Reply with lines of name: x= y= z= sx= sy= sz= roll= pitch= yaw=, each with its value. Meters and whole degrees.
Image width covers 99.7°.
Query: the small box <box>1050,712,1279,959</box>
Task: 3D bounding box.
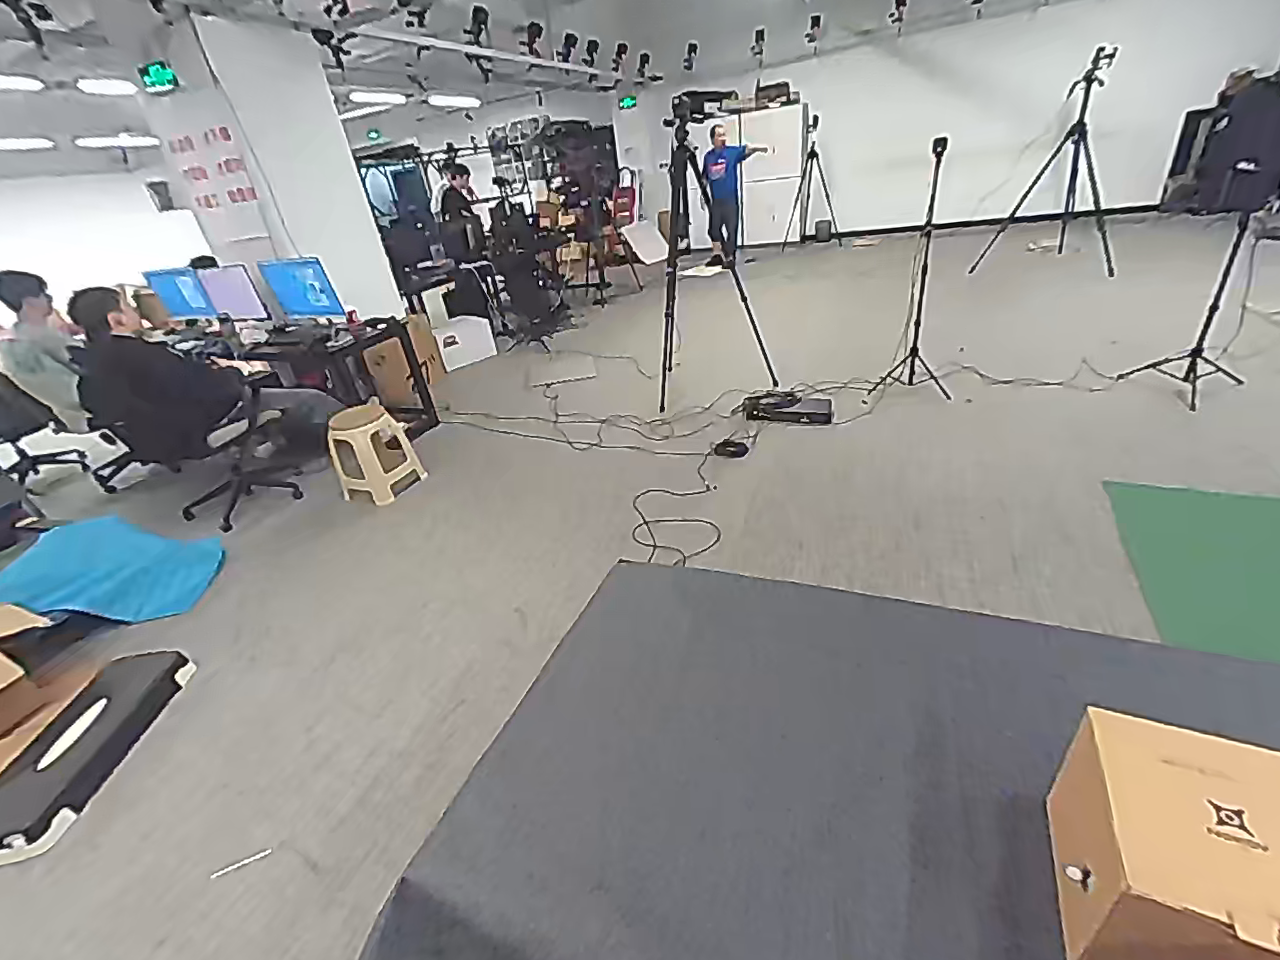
small box: x=0.483 y=0.349 z=0.470 sx=0.168 sy=0.176 sz=0.179 roll=8 pitch=33 yaw=26
